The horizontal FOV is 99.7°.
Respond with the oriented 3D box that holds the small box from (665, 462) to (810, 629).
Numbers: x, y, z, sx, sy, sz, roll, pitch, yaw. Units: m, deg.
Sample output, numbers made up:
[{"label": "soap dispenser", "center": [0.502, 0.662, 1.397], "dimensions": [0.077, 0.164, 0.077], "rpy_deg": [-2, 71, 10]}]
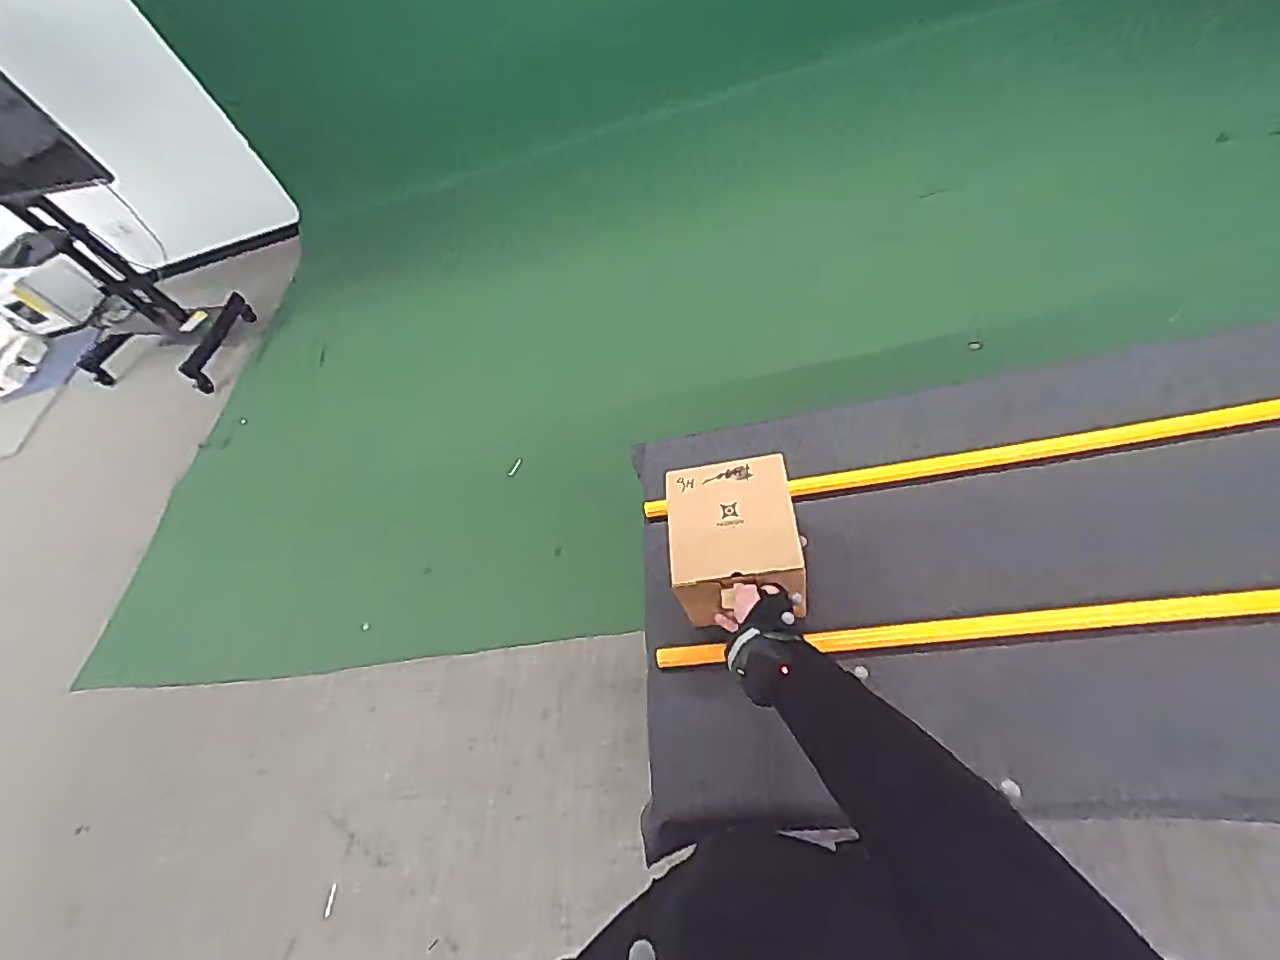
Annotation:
[{"label": "small box", "center": [0.142, 0.104, 0.777], "dimensions": [0.168, 0.176, 0.179], "rpy_deg": [-13, 54, 12]}]
